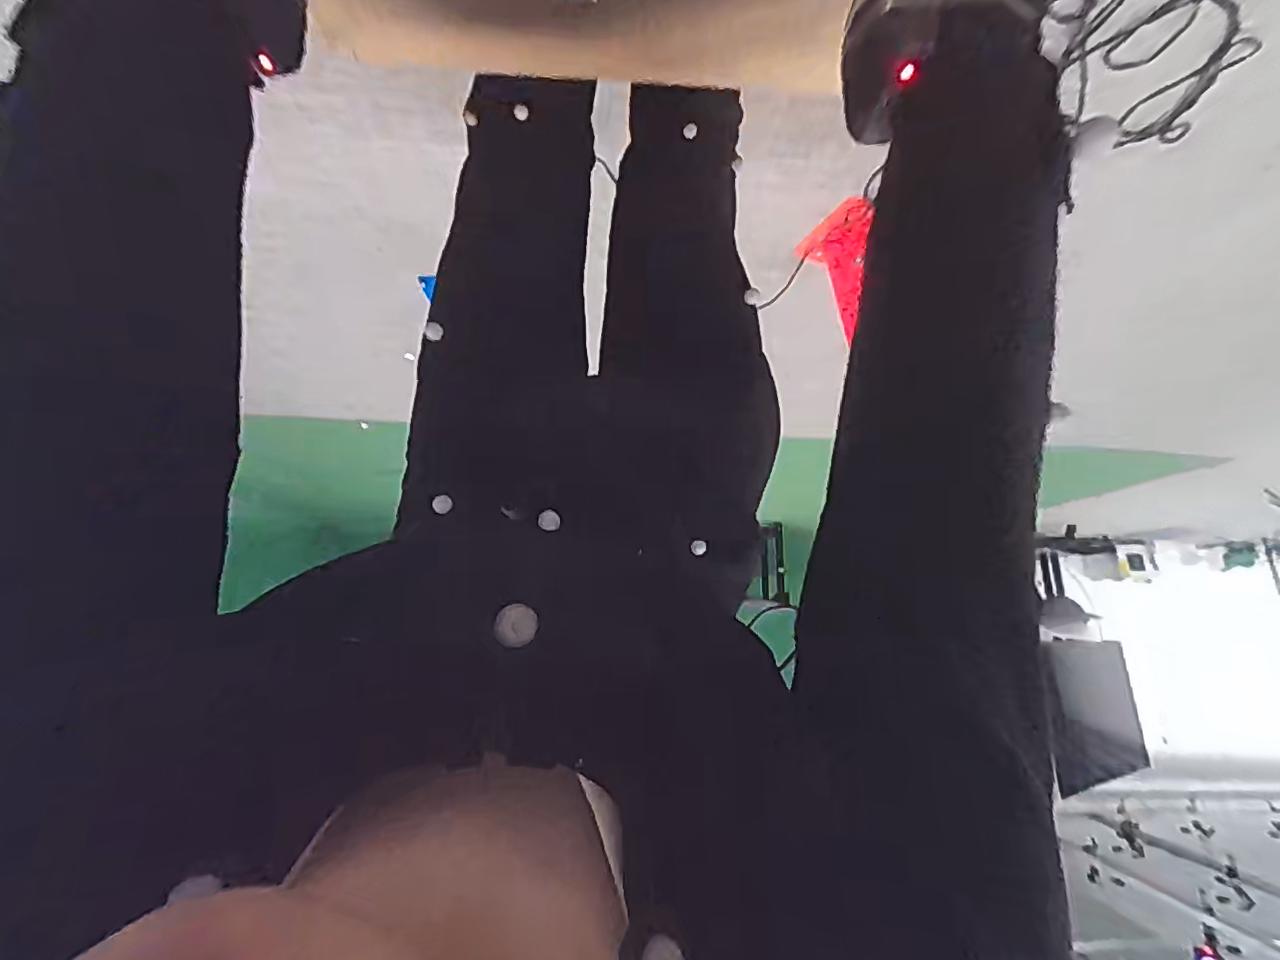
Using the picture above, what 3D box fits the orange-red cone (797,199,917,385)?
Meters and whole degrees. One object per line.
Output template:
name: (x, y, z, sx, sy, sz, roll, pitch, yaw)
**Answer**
orange-red cone: (0.480, -0.378, 1.171, 0.199, 0.360, 0.198, 6, 166, -23)
